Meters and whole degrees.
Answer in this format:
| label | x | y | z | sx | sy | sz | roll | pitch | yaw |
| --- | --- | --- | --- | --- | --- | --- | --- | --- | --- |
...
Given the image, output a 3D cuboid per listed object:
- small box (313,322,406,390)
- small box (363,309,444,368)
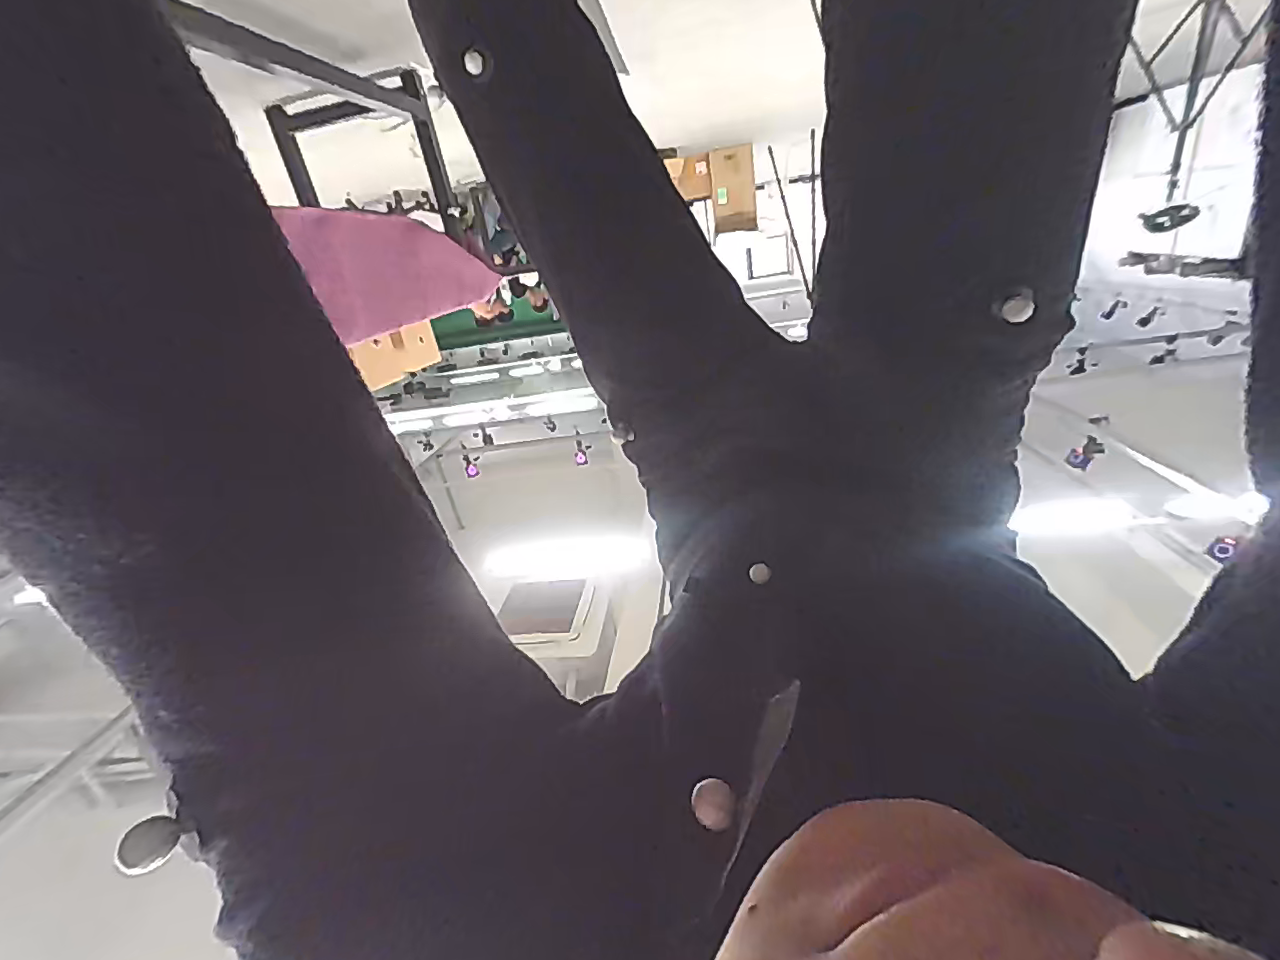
| label | x | y | z | sx | sy | sz | roll | pitch | yaw |
| --- | --- | --- | --- | --- | --- | --- | --- | --- | --- |
| small box | -0.861 | -0.383 | 1.655 | 0.179 | 0.176 | 0.168 | -1 | -153 | 19 |
| small box | -0.821 | -0.491 | 1.880 | 0.179 | 0.176 | 0.168 | -2 | -155 | 18 |
